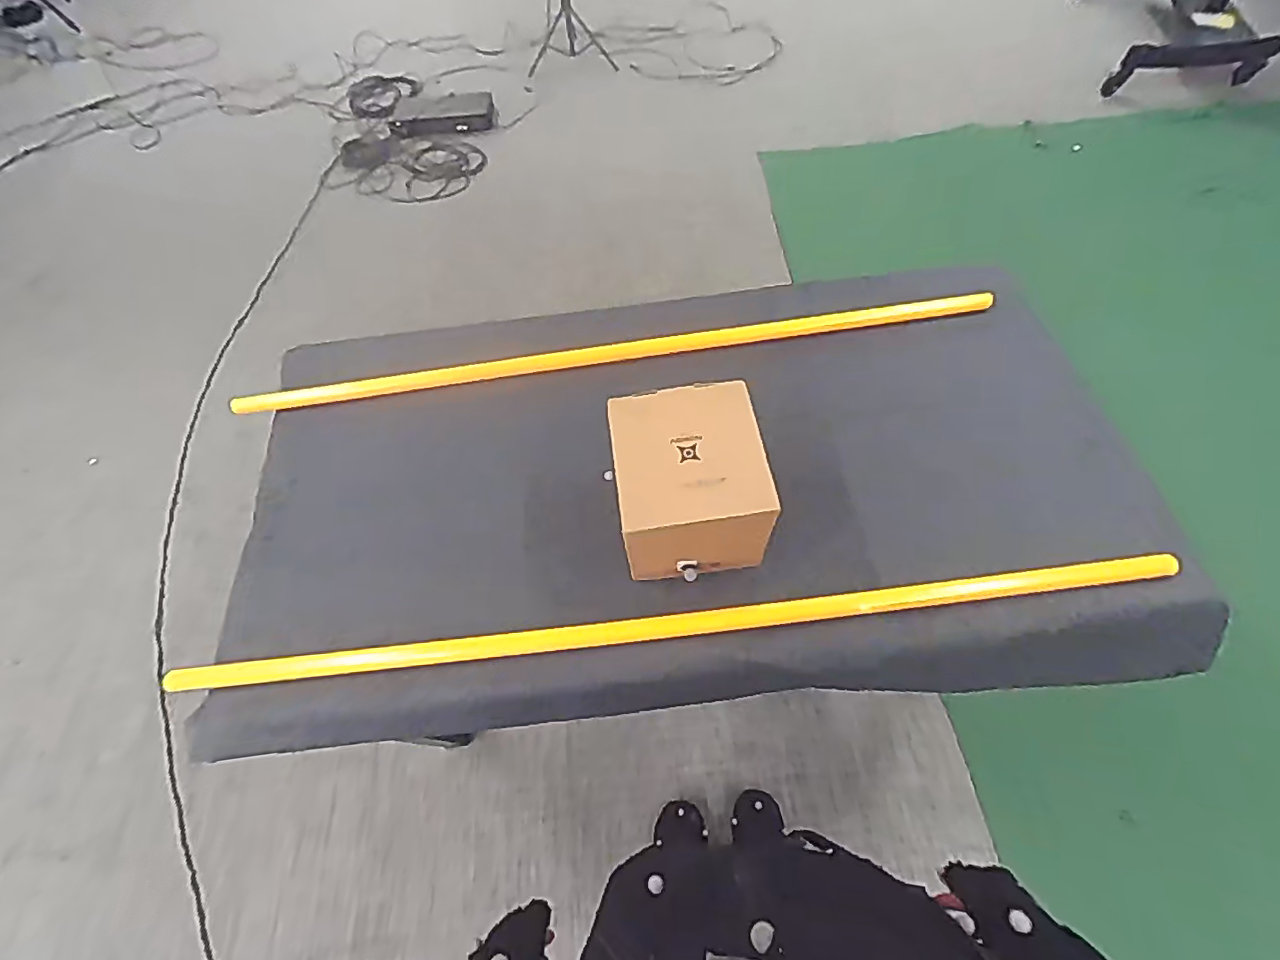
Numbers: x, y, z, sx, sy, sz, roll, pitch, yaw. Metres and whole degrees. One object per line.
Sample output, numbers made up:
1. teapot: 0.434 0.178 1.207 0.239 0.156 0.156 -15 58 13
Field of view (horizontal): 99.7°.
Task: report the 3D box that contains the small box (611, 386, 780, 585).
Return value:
1. small box: 0.060 0.012 0.669 0.168 0.176 0.179 -9 61 0
